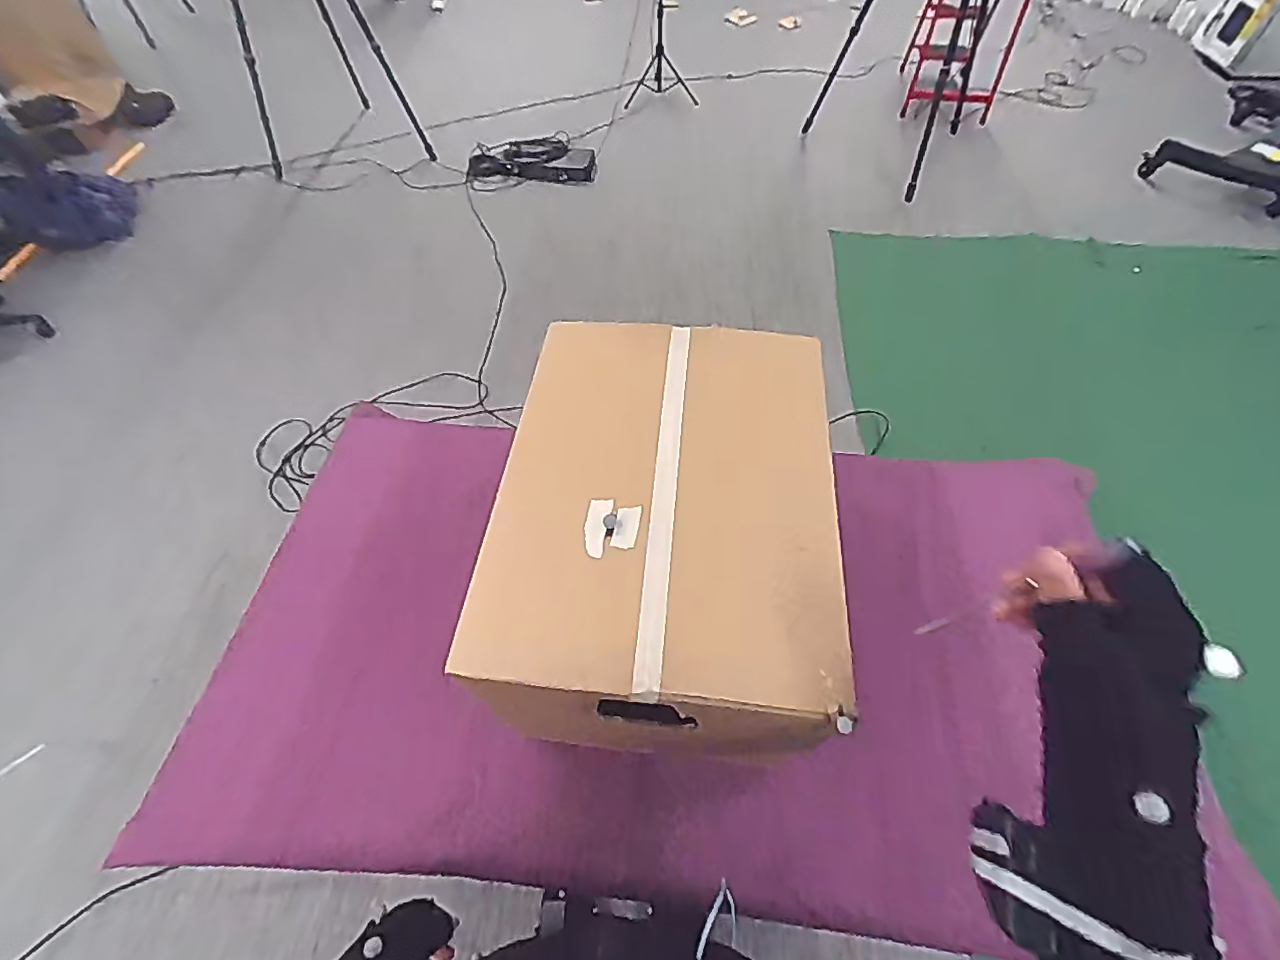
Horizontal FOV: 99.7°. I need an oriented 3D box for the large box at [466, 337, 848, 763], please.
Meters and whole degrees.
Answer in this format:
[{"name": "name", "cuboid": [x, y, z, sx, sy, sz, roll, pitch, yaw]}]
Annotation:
[{"name": "large box", "cuboid": [0.028, 0.089, 0.656, 0.320, 0.320, 0.408, 5, 57, 4]}]
